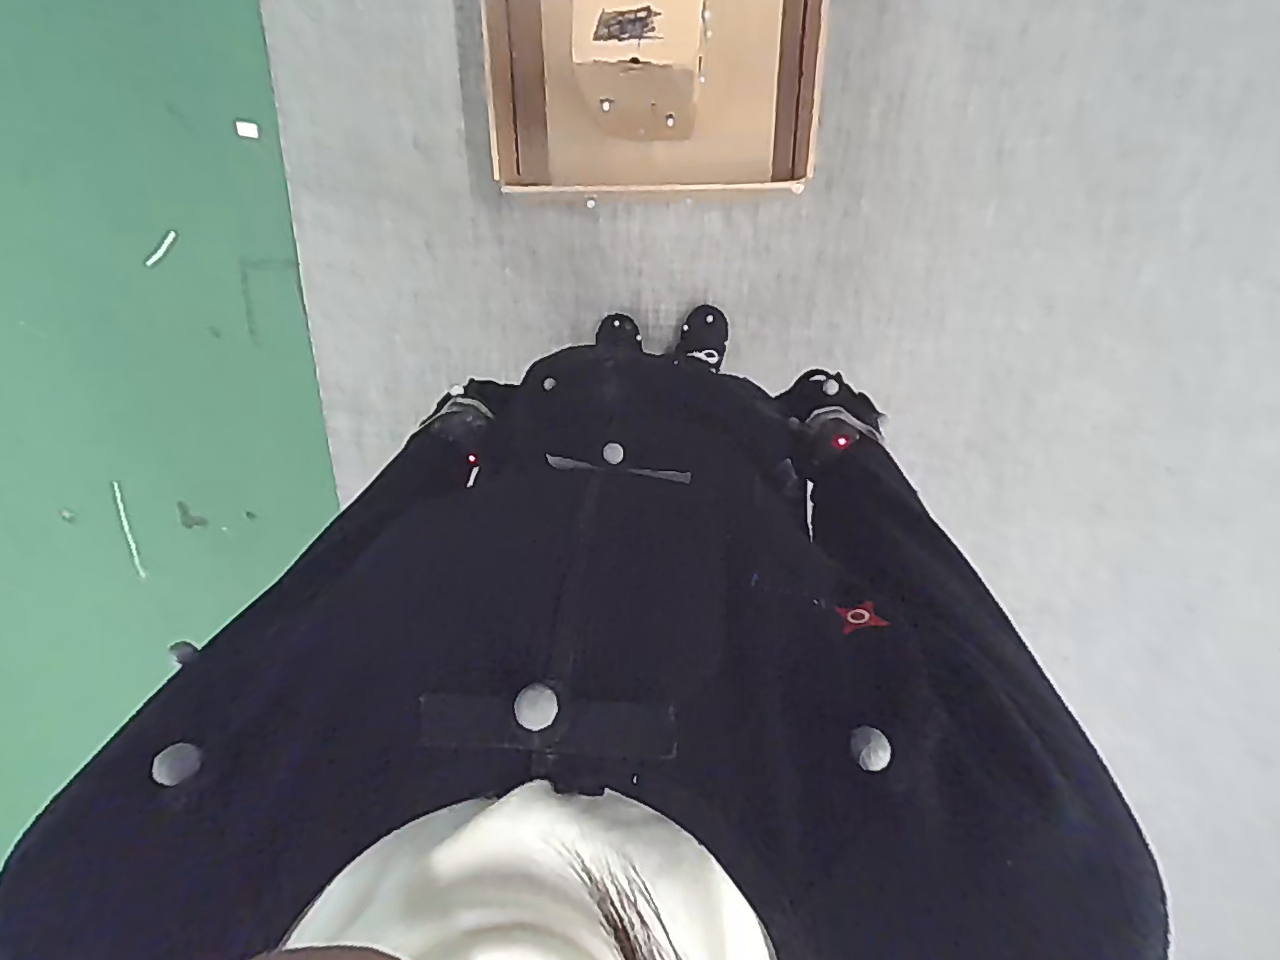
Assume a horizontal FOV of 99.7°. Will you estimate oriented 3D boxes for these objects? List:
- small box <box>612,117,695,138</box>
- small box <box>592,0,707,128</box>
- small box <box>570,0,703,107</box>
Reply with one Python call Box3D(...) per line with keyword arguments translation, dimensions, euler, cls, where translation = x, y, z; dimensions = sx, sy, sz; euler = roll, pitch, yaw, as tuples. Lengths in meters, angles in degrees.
Box3D(translation=(0.022, -0.782, 1.050), dimensions=(0.179, 0.176, 0.168), euler=(0, 108, 3), cls="small box")
Box3D(translation=(0.014, -0.696, 0.889), dimensions=(0.179, 0.176, 0.168), euler=(0, 109, 3), cls="small box")
Box3D(translation=(0.002, -0.646, 0.750), dimensions=(0.168, 0.176, 0.179), euler=(5, 108, 1), cls="small box")
